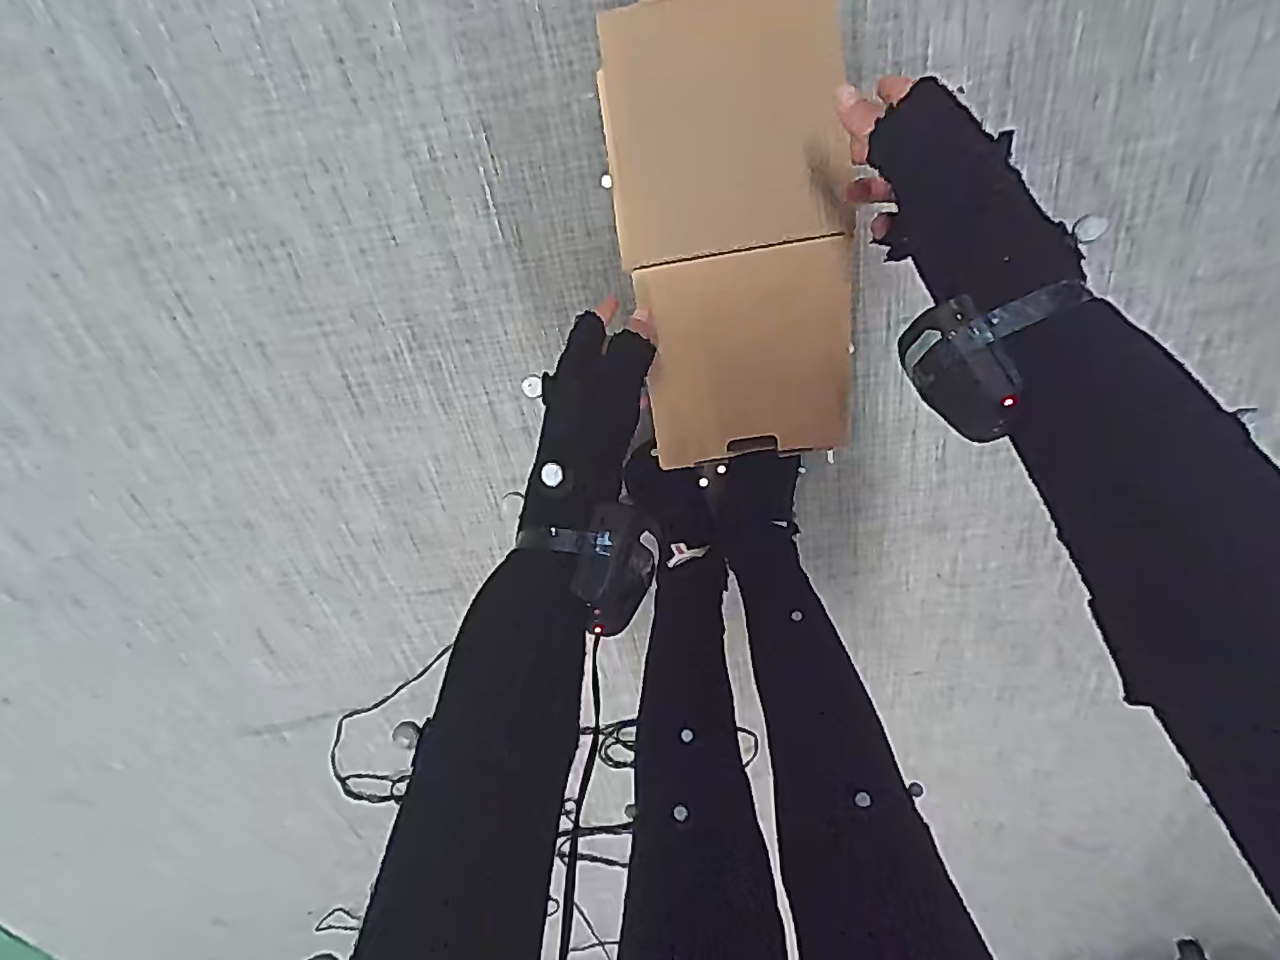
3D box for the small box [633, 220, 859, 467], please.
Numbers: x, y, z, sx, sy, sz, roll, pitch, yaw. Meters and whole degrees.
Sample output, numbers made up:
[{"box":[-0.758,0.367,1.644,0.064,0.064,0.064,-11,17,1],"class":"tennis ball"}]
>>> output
[{"box":[0.091,-0.132,0.502,0.168,0.176,0.179,-6,117,6],"class":"small box"}]
